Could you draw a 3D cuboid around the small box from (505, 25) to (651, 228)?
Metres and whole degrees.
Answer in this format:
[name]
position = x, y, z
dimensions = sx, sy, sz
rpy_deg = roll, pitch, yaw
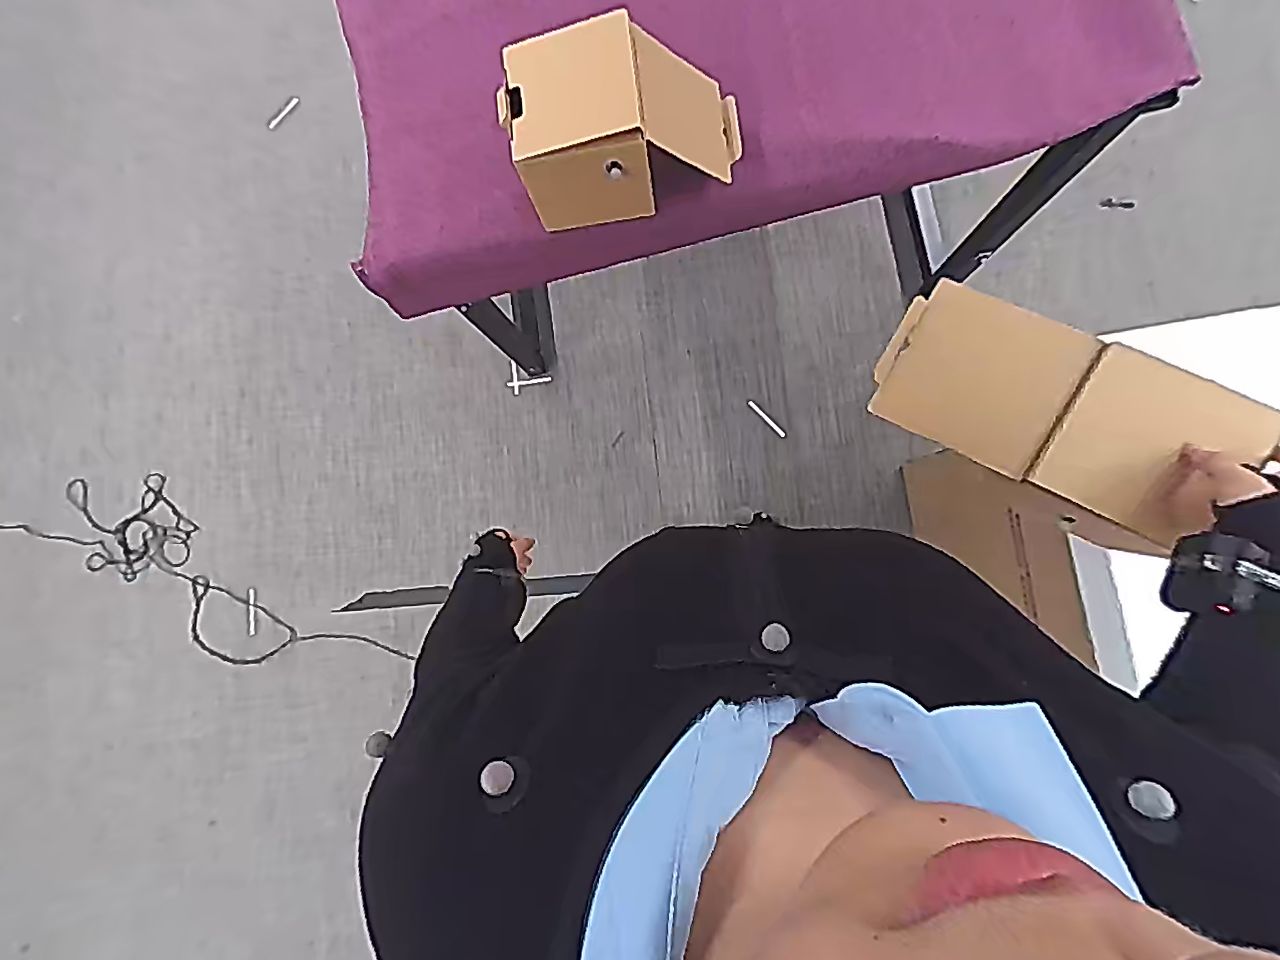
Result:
[small box]
position = -0.079, -0.493, 0.778
dimensions = 0.179, 0.176, 0.168
rpy_deg = -7, 83, 6
